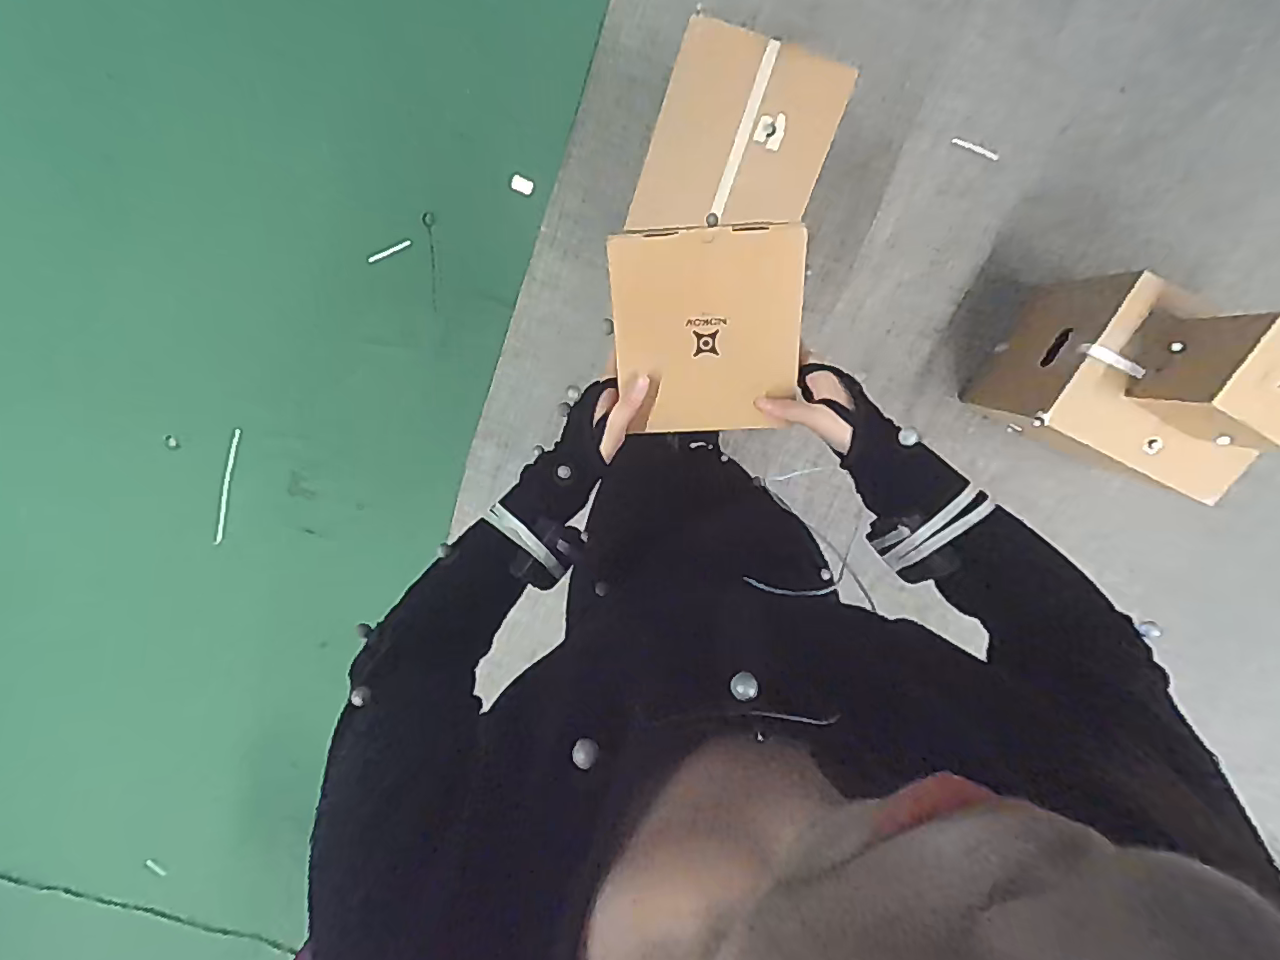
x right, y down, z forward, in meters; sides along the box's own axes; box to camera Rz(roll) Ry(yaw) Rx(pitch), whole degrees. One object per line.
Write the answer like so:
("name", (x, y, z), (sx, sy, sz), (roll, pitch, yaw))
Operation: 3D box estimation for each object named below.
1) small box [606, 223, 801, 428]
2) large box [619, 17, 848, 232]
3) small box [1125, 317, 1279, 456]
("small box", (0.062, -0.164, 0.556), (0.168, 0.176, 0.179), (-2, 114, 5))
("large box", (0.174, -0.613, 1.135), (0.320, 0.320, 0.408), (20, 104, -1))
("small box", (1.026, -0.165, 0.939), (0.179, 0.176, 0.168), (29, 102, -3))
